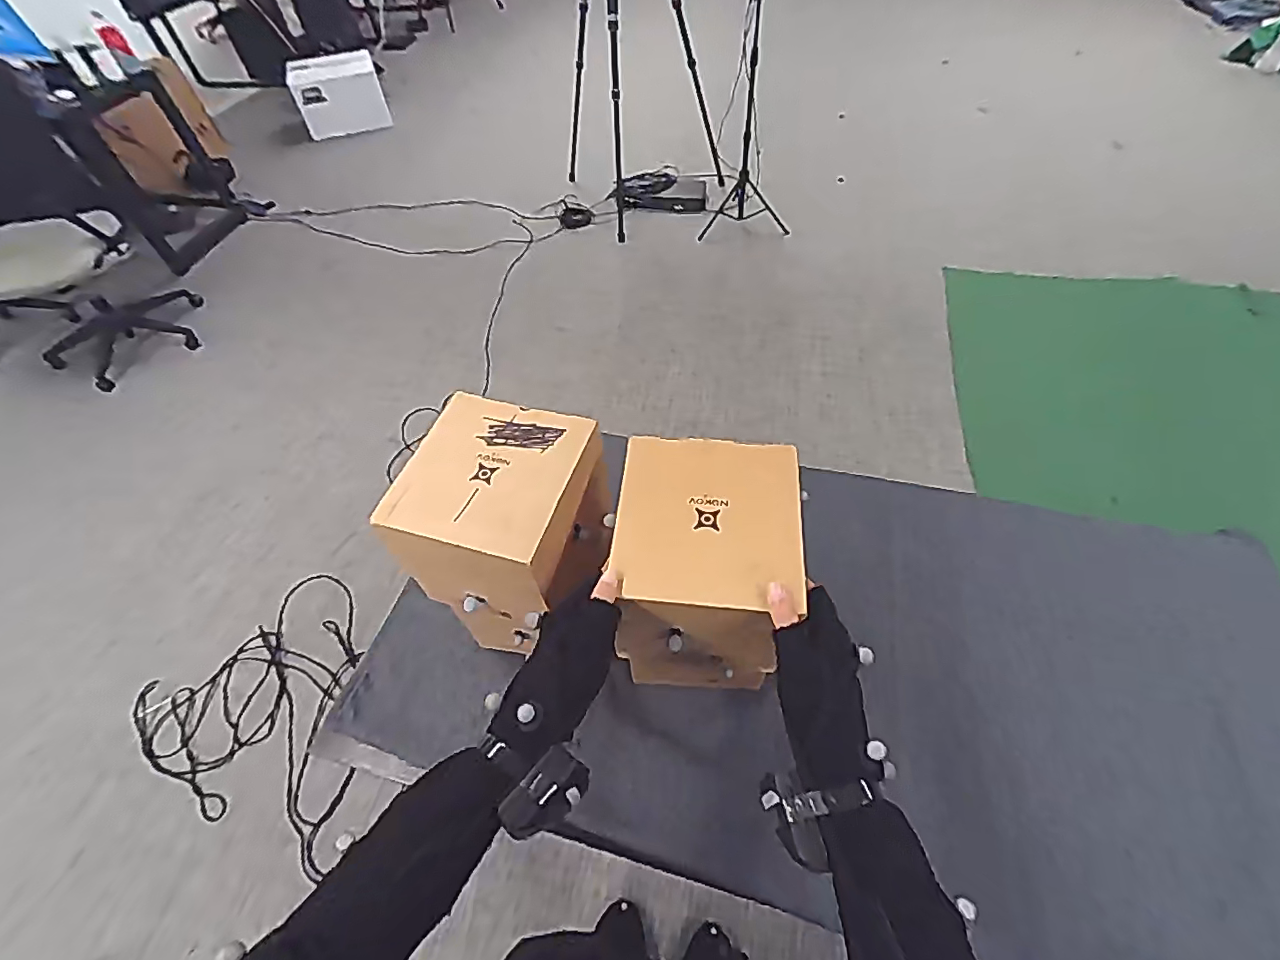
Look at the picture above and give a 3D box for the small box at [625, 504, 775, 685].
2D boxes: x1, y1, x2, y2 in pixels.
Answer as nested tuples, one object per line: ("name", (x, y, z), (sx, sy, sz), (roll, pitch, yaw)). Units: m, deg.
("small box", (0.075, 0.151, 0.696), (0.168, 0.176, 0.179), (2, 53, 4))
